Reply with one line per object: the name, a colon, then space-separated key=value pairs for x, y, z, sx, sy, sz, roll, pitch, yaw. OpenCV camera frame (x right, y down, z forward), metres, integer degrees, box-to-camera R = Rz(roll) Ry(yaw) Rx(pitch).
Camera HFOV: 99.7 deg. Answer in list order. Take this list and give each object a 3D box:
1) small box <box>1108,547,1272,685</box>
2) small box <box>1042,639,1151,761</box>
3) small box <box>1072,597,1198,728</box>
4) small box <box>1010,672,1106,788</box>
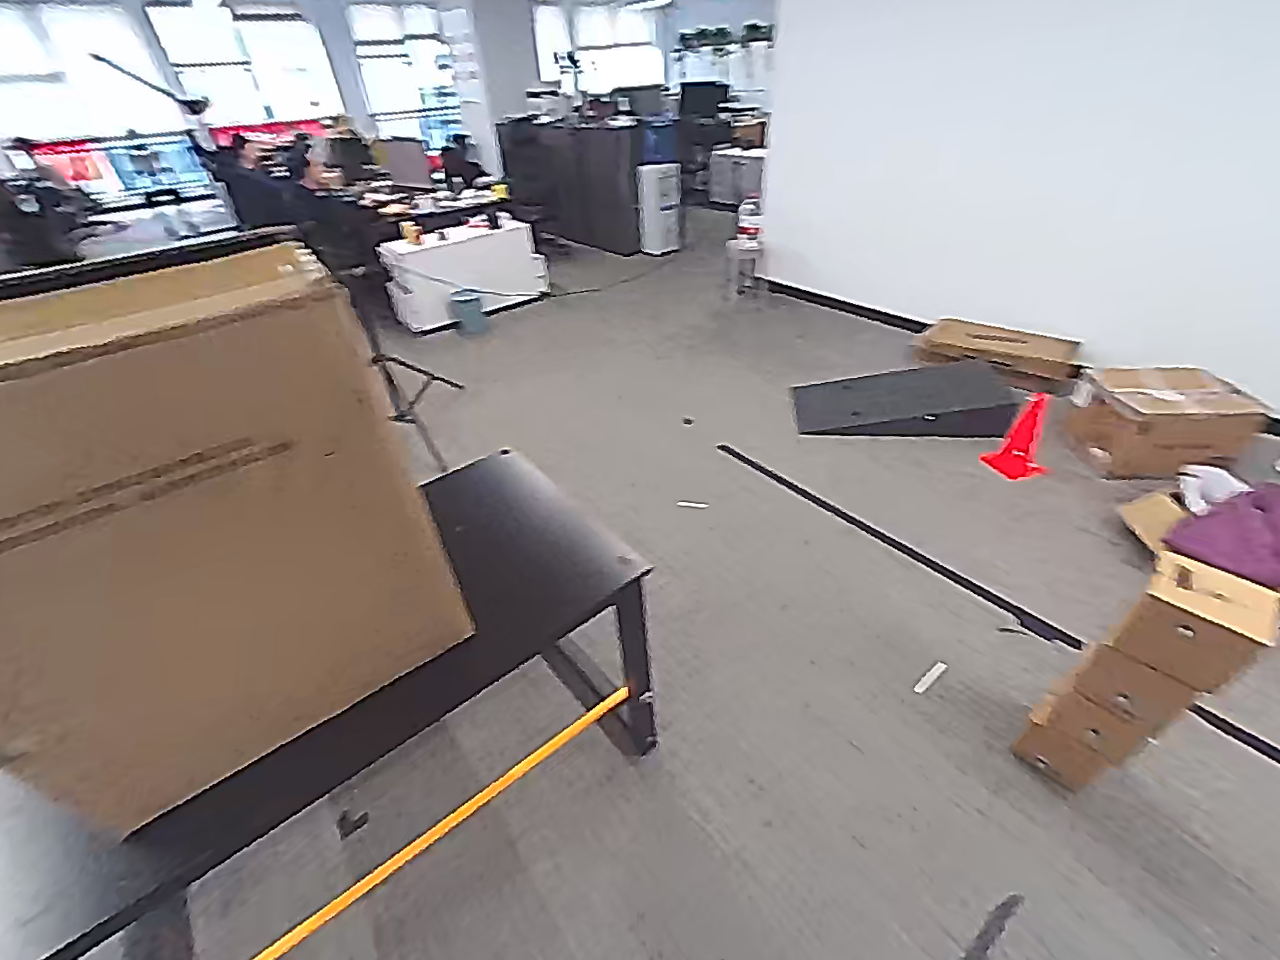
small box: x=1.101 y=0.275 z=1.094 sx=0.168 sy=0.176 sz=0.179 roll=-33 pitch=46 yaw=-32
small box: x=1.107 y=0.531 z=1.303 sx=0.168 sy=0.176 sz=0.179 roll=28 pitch=48 yaw=36
small box: x=1.105 y=0.402 z=1.199 sx=0.179 sy=0.176 sz=0.168 roll=-30 pitch=43 yaw=-30
small box: x=1.106 y=0.652 z=1.414 sx=0.168 sy=0.176 sz=0.179 roll=29 pitch=49 yaw=37
